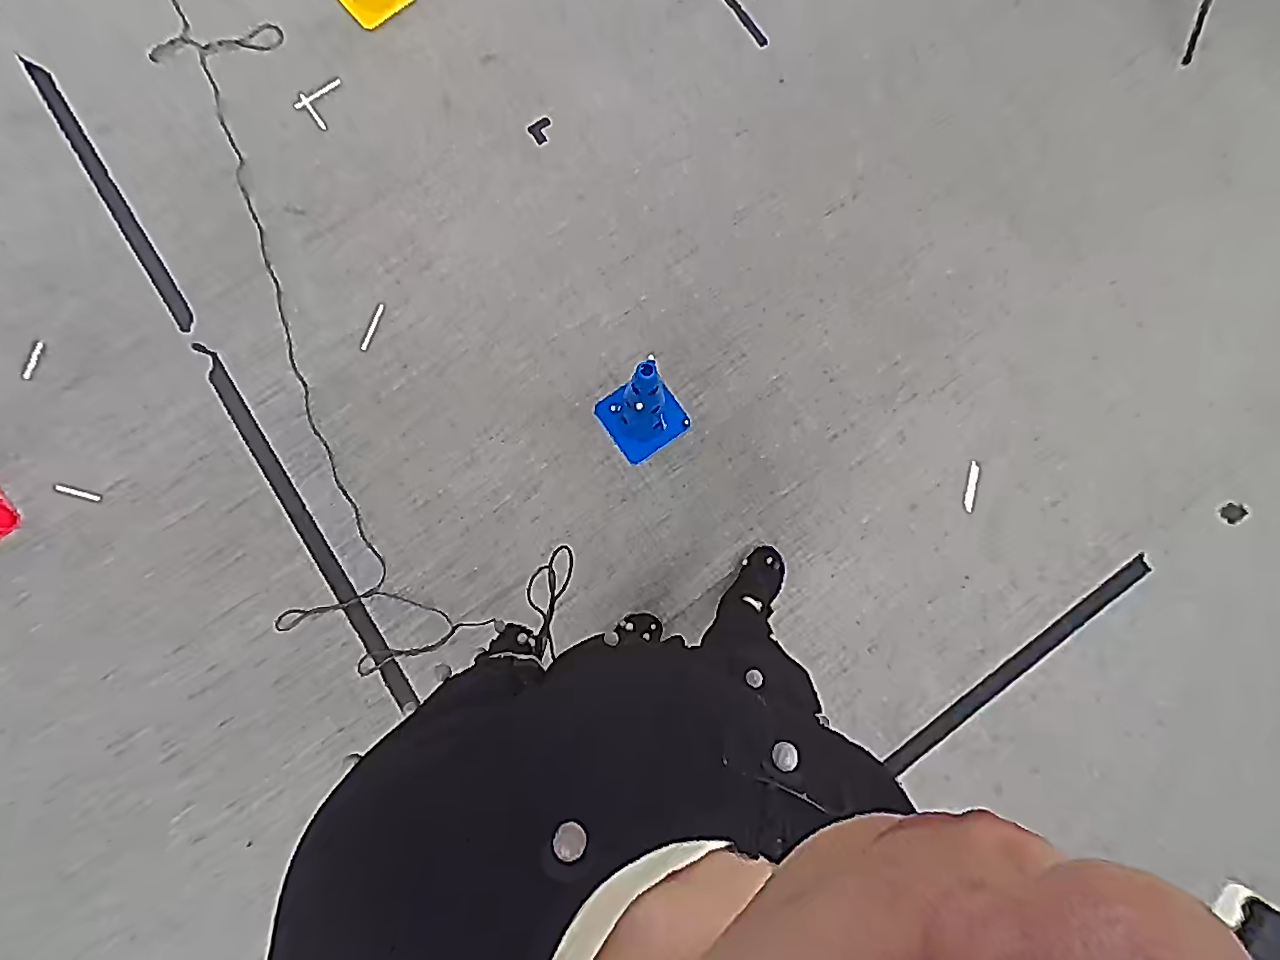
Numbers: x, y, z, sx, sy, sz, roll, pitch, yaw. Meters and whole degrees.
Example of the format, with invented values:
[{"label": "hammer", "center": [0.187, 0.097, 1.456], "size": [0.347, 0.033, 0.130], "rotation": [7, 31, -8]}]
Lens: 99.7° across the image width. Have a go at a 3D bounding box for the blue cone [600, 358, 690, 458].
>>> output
[{"label": "blue cone", "center": [0.015, -0.195, 1.266], "size": [0.192, 0.380, 0.193], "rotation": [-33, 83, -7]}]
